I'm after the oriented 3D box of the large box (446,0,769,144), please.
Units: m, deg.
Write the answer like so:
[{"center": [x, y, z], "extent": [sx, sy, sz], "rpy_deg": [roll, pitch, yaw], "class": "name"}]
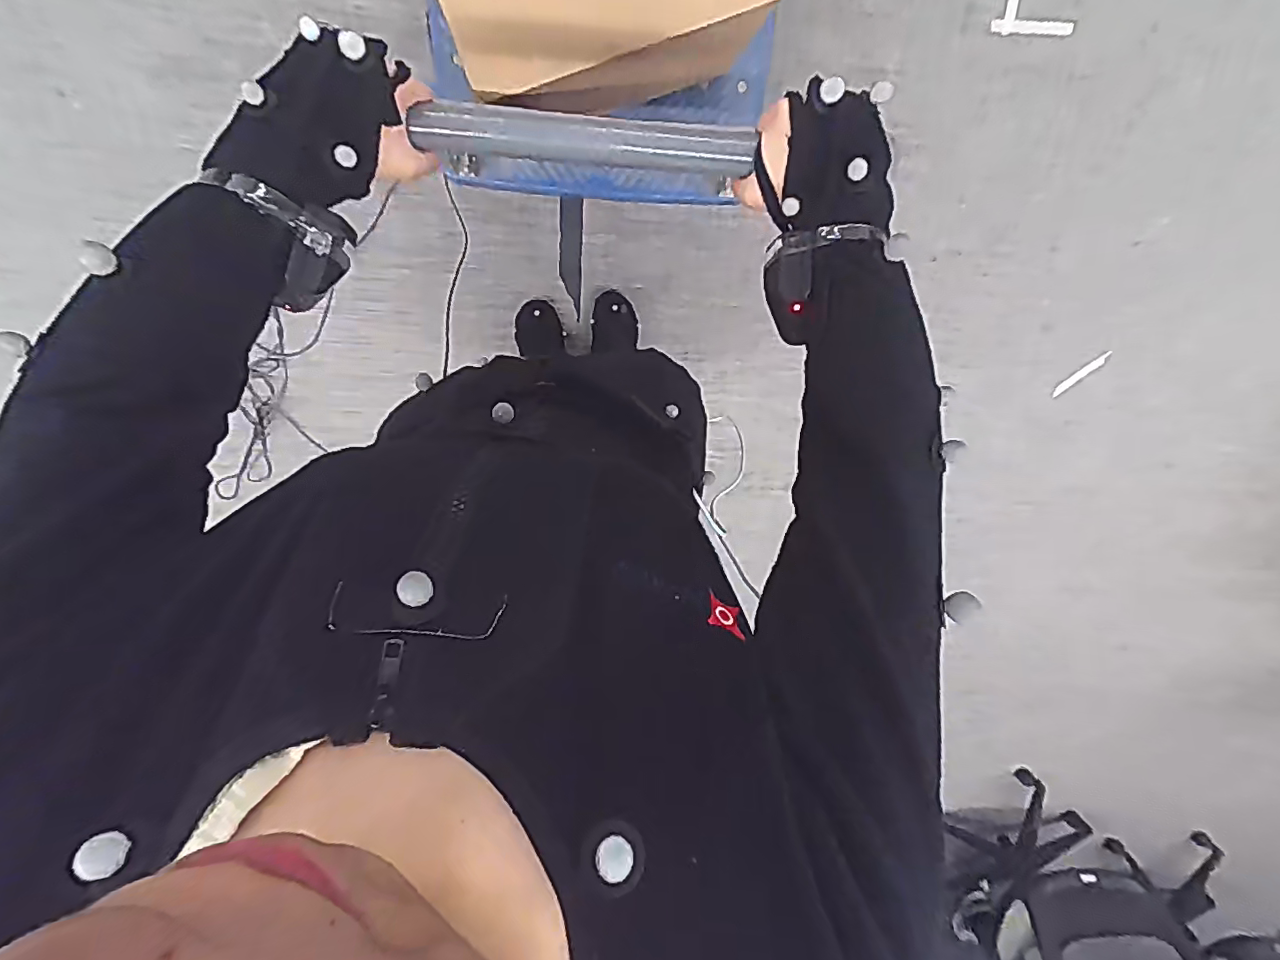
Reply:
[{"center": [-0.073, -0.733, 0.761], "extent": [0.408, 0.320, 0.320], "rpy_deg": [-18, 114, 2], "class": "large box"}]
